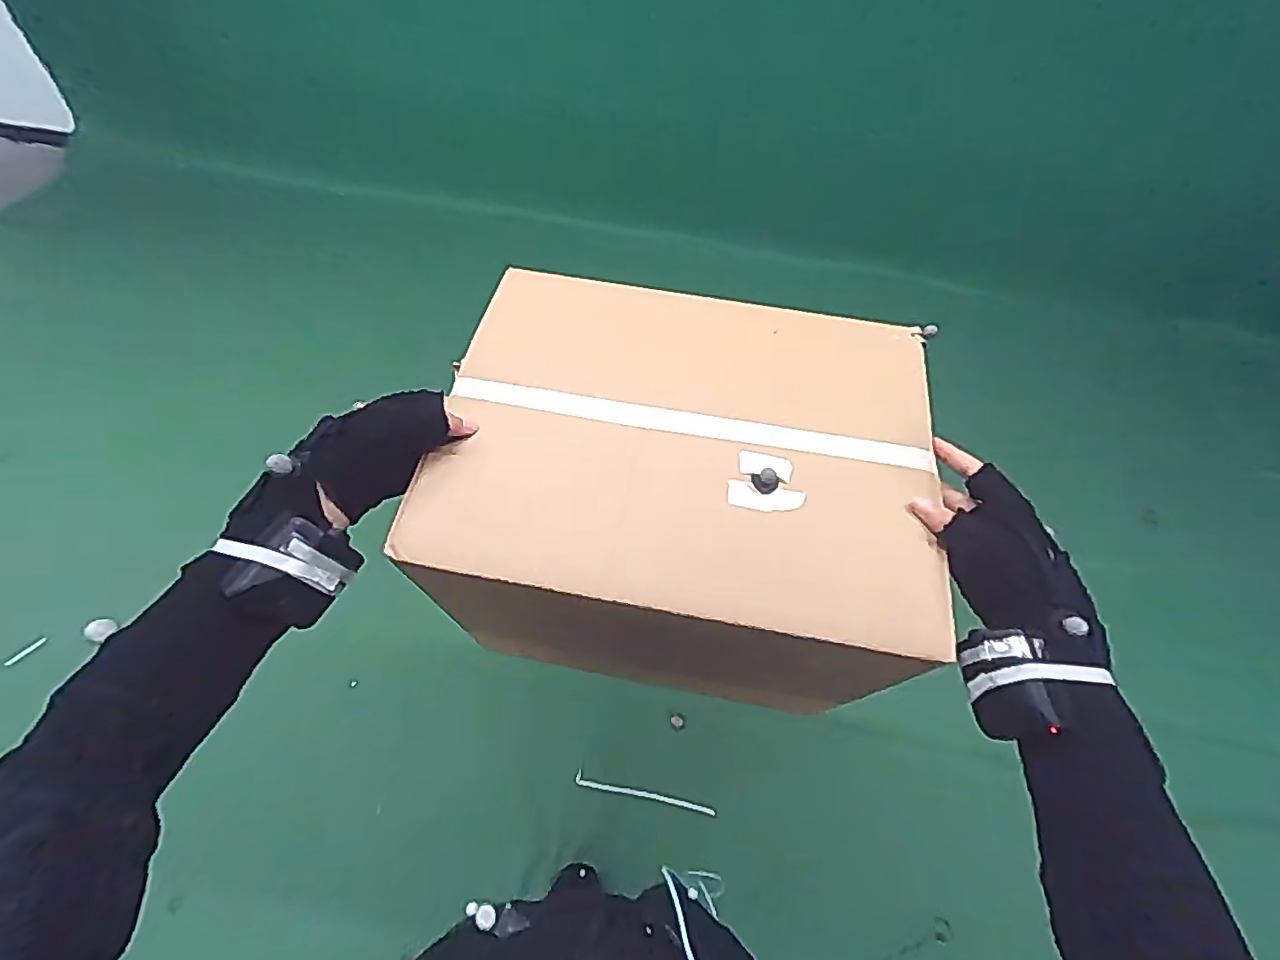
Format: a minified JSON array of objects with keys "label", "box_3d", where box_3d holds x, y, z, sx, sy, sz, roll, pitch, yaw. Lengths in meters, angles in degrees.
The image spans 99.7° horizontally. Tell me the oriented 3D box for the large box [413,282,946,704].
[{"label":"large box","box_3d":[0.040,0.031,0.594,0.408,0.320,0.320,10,61,3]}]
